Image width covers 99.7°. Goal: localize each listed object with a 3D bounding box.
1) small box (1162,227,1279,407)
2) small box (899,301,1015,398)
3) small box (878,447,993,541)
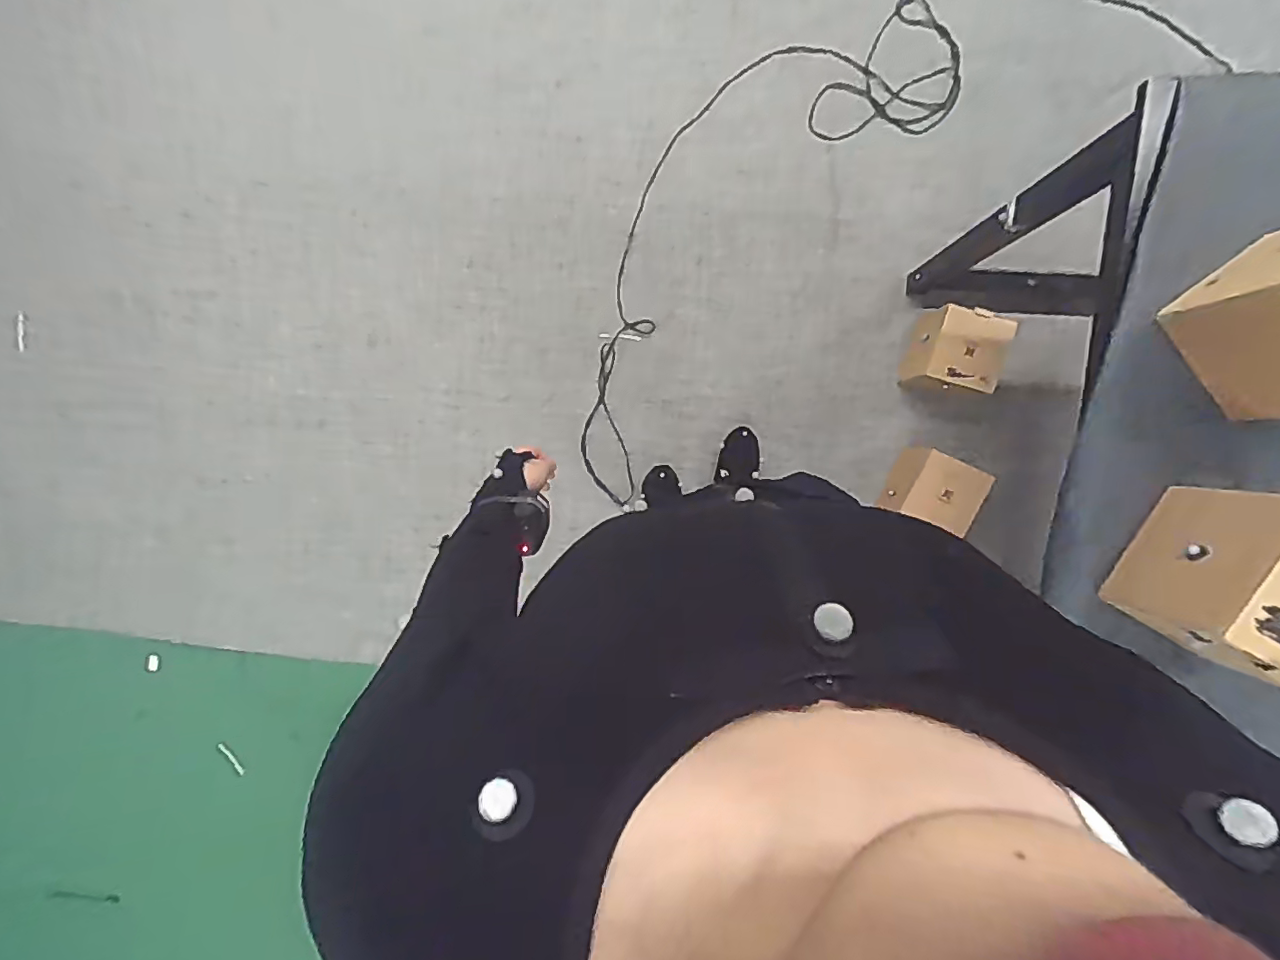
[{"bbox_3d":[0.772,-0.198,0.613,0.168,0.176,0.179,-38,91,5],"label":"small box"},{"bbox_3d":[0.771,-0.314,1.336,0.168,0.176,0.179,17,94,2],"label":"small box"},{"bbox_3d":[0.730,0.030,1.360,0.168,0.176,0.179,25,93,1],"label":"small box"}]
